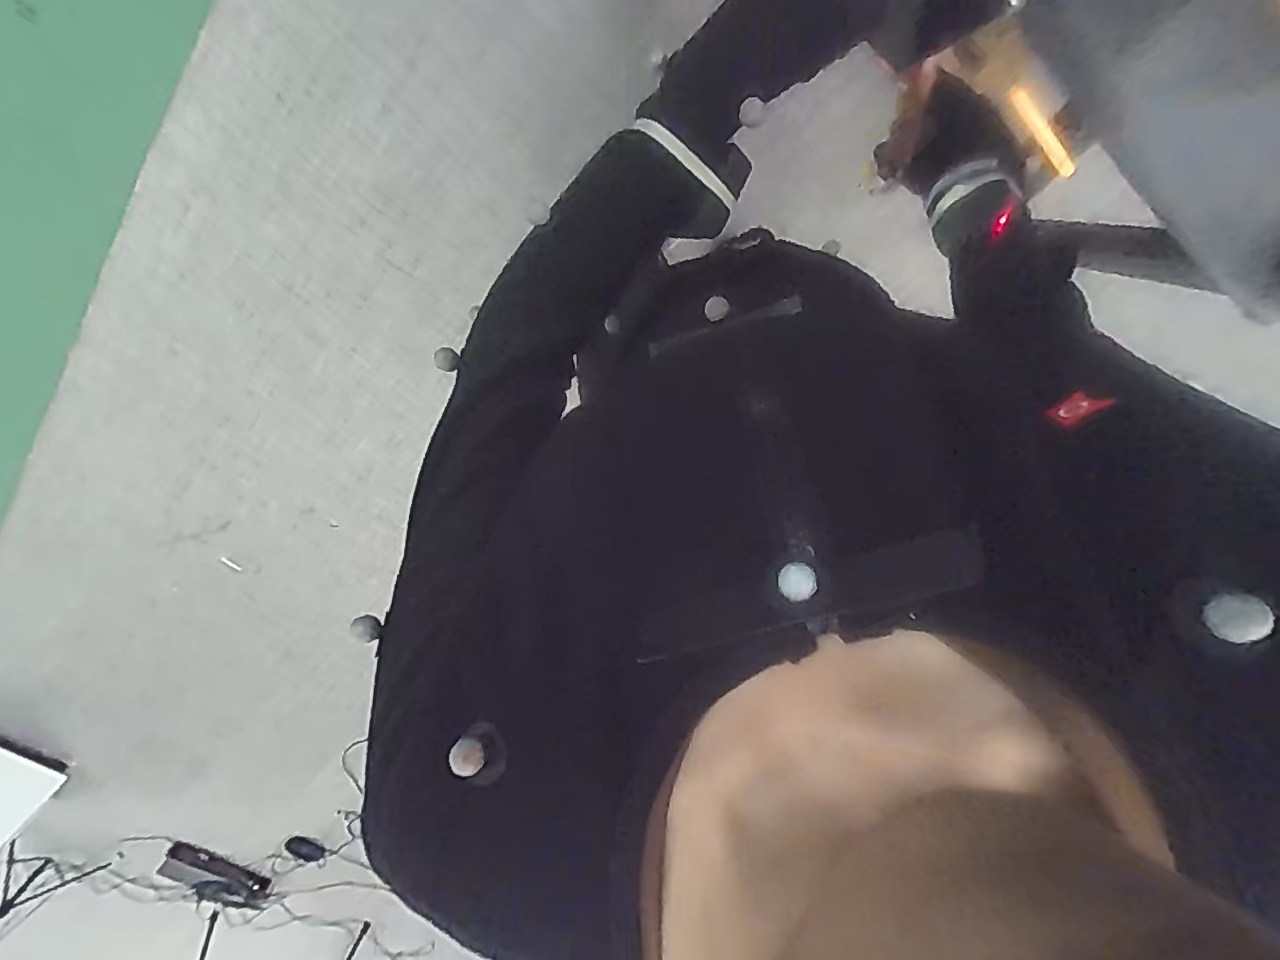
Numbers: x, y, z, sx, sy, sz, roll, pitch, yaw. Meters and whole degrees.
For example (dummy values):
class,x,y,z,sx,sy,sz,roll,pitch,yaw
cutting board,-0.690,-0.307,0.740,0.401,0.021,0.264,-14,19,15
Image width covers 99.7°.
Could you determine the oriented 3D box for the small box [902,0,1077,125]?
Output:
class,x,y,z,sx,sy,sz,roll,pitch,yaw
small box,0.586,-0.756,0.939,0.179,0.176,0.168,-40,110,21
